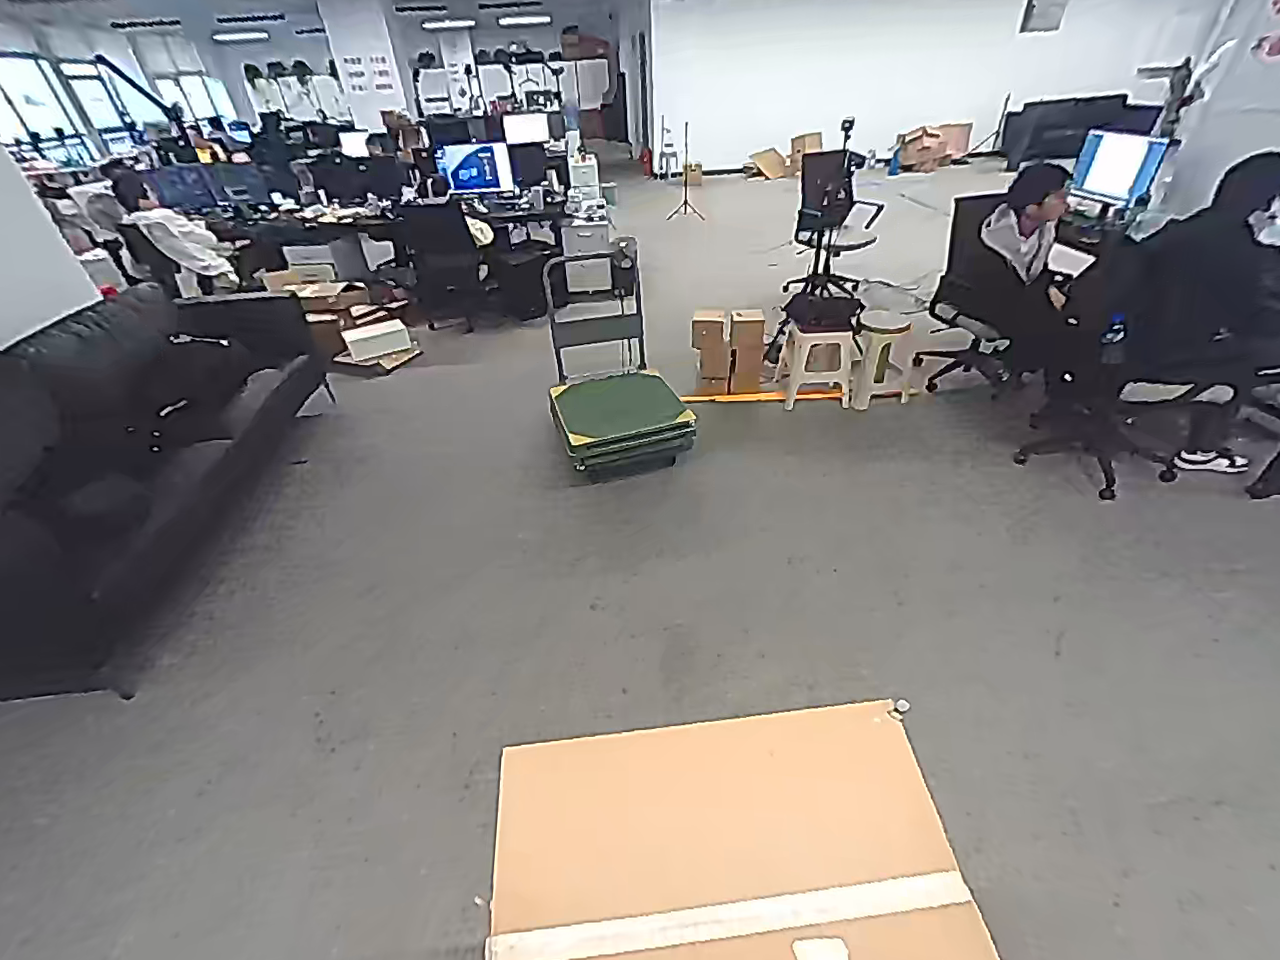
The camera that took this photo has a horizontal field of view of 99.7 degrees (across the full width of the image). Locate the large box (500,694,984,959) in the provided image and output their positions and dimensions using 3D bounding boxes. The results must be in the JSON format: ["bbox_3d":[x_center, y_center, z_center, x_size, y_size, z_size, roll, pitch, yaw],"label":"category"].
[{"bbox_3d":[0.082,0.463,0.583,0.408,0.320,0.320,-6,50,-2],"label":"large box"}]
